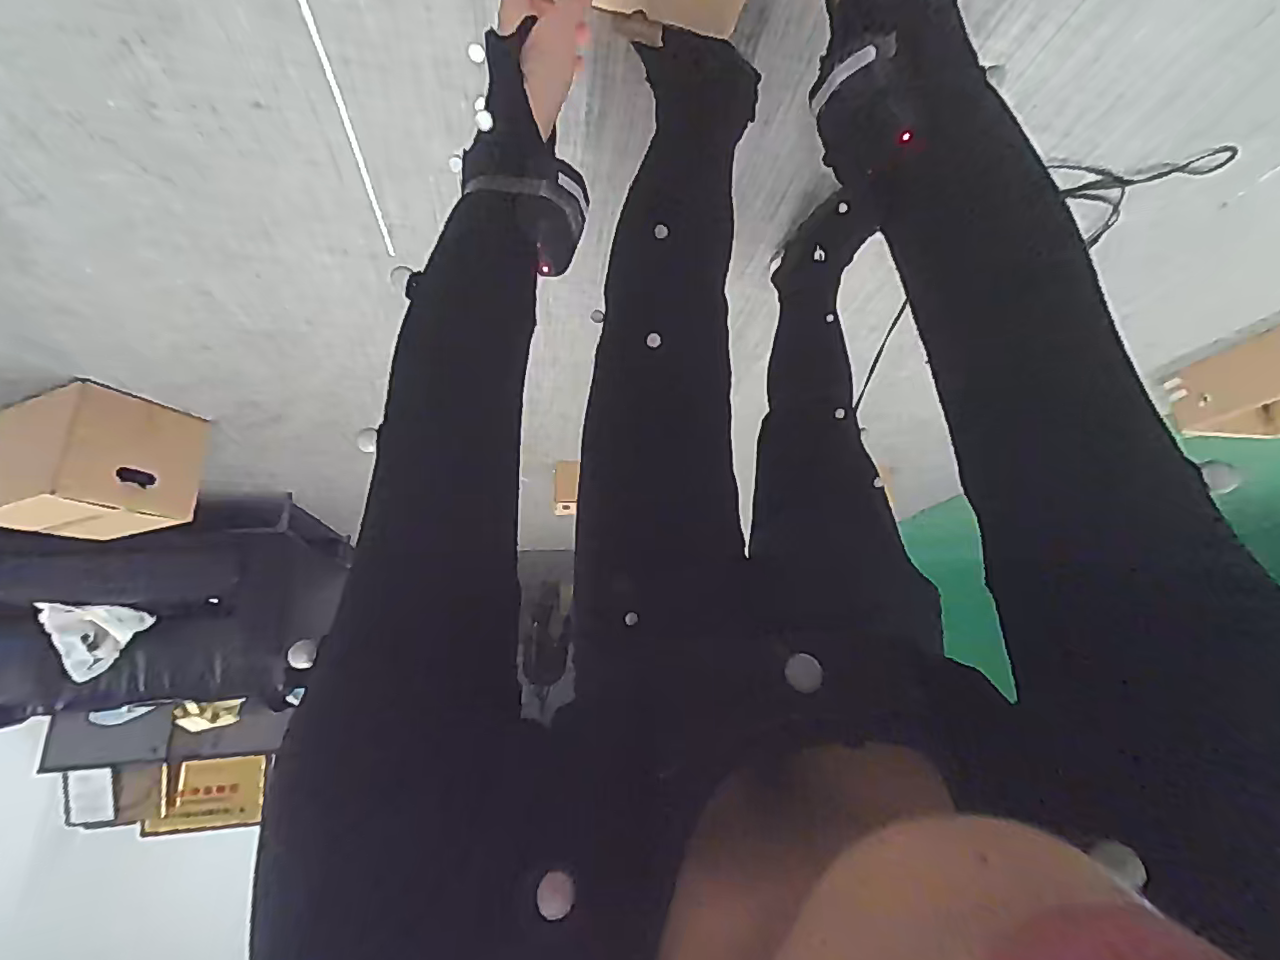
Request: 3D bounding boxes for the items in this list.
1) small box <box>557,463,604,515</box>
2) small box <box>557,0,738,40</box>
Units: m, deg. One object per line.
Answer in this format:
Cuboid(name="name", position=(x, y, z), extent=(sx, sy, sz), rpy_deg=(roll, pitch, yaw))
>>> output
Cuboid(name="small box", position=(-0.243, 0.035, 2.174), extent=(0.179, 0.176, 0.168), rpy_deg=(1, 161, -12))
Cuboid(name="small box", position=(0.012, -0.491, 0.400), extent=(0.168, 0.176, 0.179), rpy_deg=(1, 162, -14))
